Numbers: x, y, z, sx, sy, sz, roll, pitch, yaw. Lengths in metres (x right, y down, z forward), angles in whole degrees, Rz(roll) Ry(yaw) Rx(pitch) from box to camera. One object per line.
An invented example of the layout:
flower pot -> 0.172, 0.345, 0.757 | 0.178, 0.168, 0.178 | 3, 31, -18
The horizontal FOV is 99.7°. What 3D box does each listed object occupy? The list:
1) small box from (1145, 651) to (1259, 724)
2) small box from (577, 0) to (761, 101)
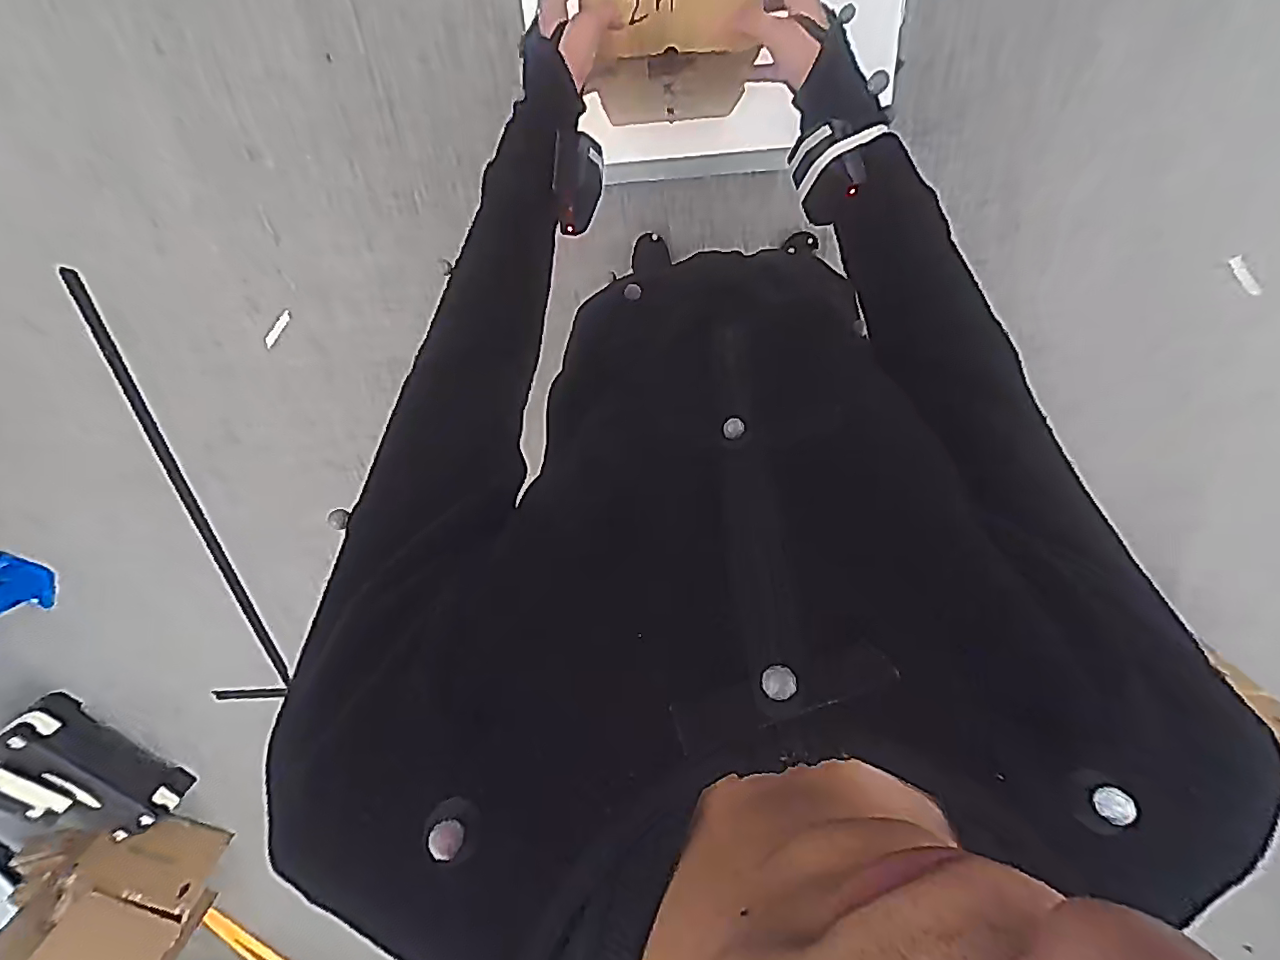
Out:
small box -> 1.786, 0.664, 1.733 | 0.168, 0.176, 0.179 | -3, 116, 2
small box -> 0.026, -0.499, 0.532 | 0.168, 0.176, 0.179 | -1, 115, 3
